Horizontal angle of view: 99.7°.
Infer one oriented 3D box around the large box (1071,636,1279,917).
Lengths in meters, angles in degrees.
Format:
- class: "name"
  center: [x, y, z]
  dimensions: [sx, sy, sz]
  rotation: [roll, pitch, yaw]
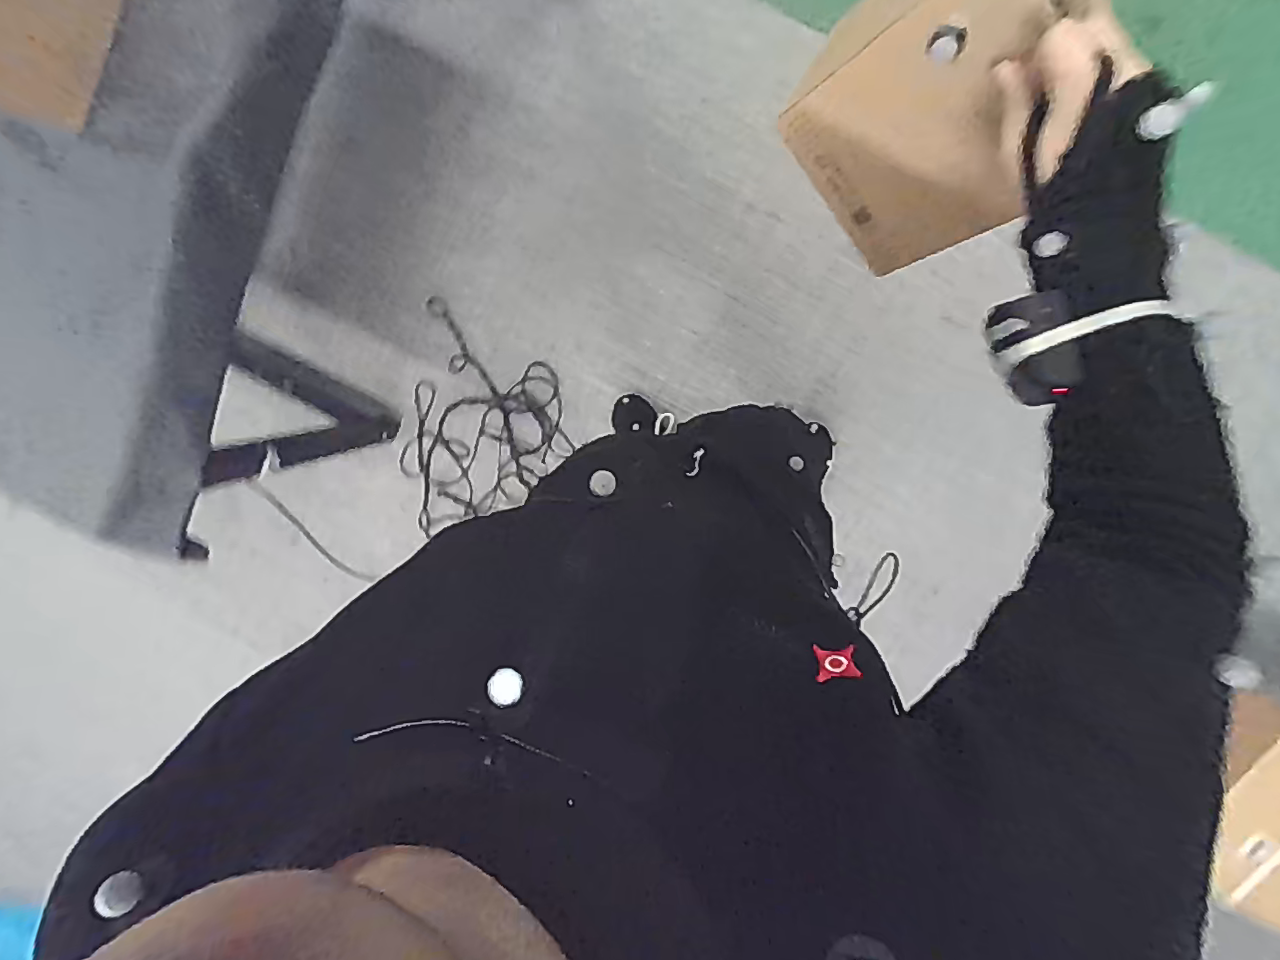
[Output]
- class: "large box"
  center: [1.302, 0.635, 1.197]
  dimensions: [0.320, 0.320, 0.408]
  rotation: [26, 105, 1]
